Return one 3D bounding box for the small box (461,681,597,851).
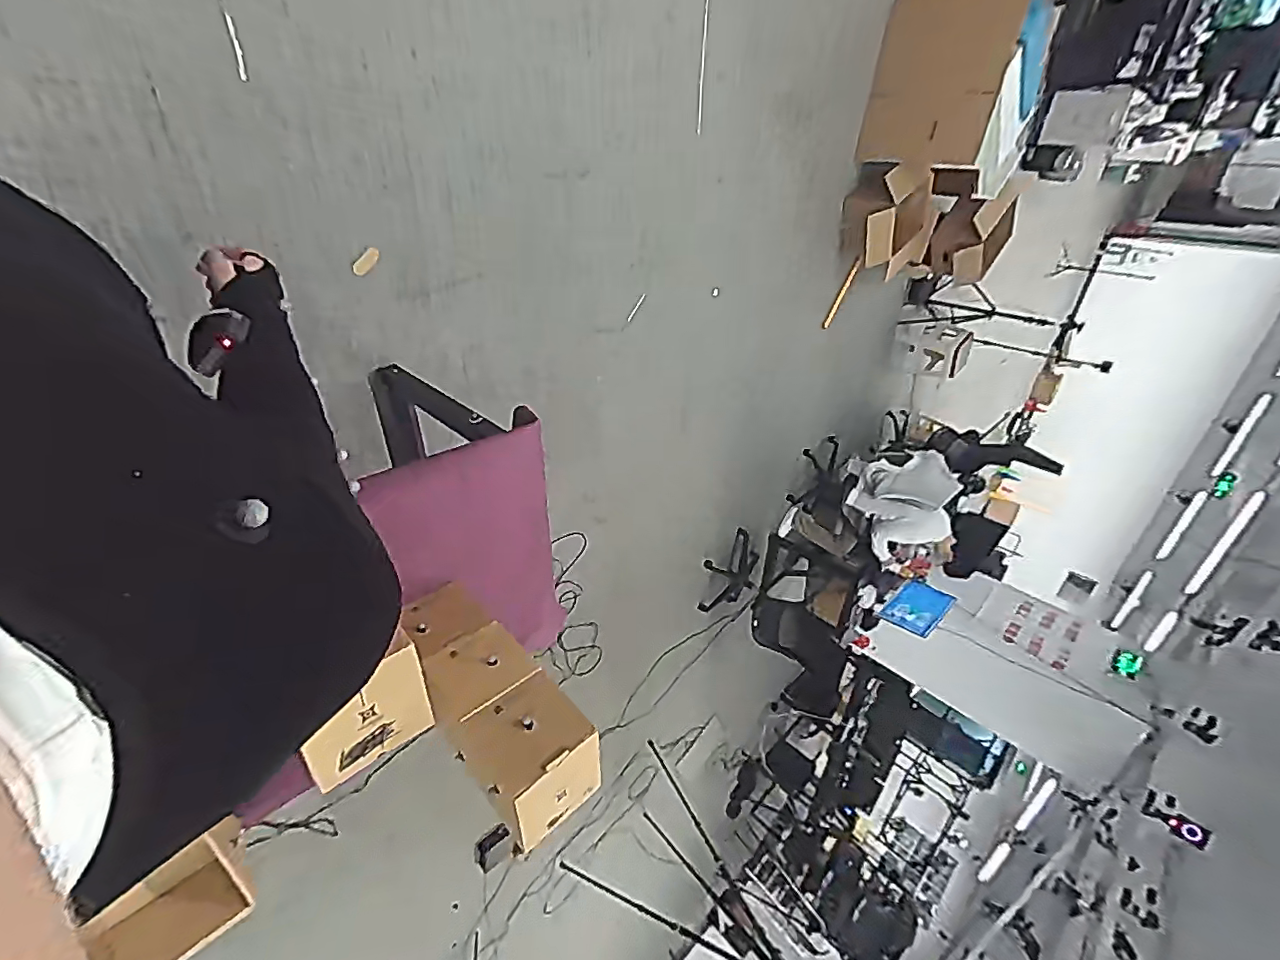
[{"bbox_3d":[-0.193,0.482,0.944,0.168,0.176,0.179,-26,130,-36],"label":"small box"}]

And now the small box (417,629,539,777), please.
[{"bbox_3d":[-0.307,0.414,1.041,0.168,0.176,0.179,-26,131,-37],"label":"small box"}]

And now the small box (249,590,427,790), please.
[{"bbox_3d":[-0.441,0.298,0.799,0.168,0.176,0.179,-25,131,-39],"label":"small box"}]

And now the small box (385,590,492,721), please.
[{"bbox_3d":[-0.421,0.356,1.140,0.168,0.176,0.179,-25,130,-37],"label":"small box"}]
